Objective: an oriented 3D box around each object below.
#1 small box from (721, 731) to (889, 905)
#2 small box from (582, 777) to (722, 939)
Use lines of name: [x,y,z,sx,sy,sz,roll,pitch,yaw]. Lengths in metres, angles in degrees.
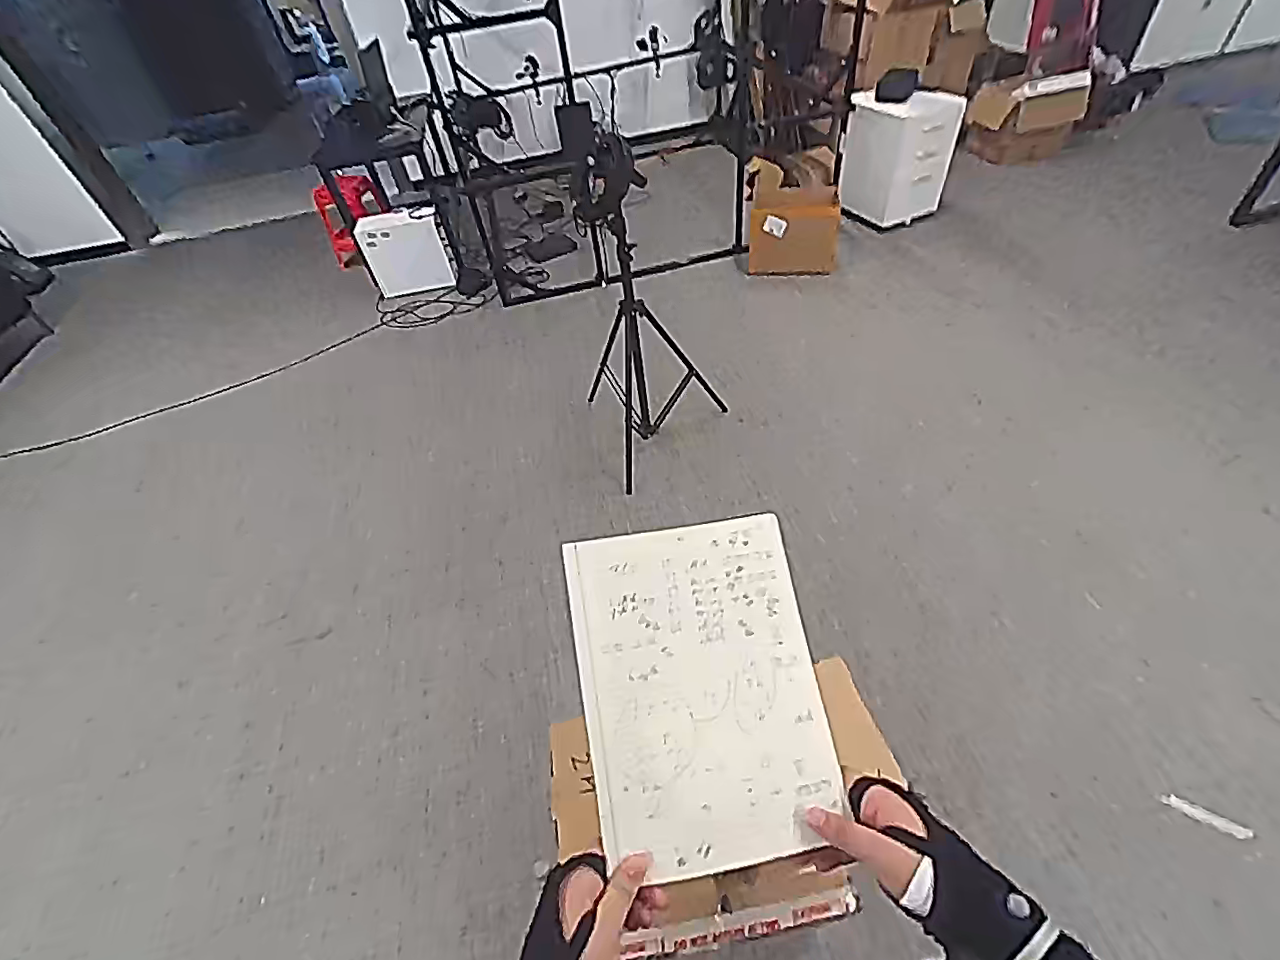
small box: [0.229,0.504,0.806,0.179,0.176,0.168,-14,48,-6]
small box: [0.018,0.553,0.790,0.179,0.176,0.168,-10,48,2]
